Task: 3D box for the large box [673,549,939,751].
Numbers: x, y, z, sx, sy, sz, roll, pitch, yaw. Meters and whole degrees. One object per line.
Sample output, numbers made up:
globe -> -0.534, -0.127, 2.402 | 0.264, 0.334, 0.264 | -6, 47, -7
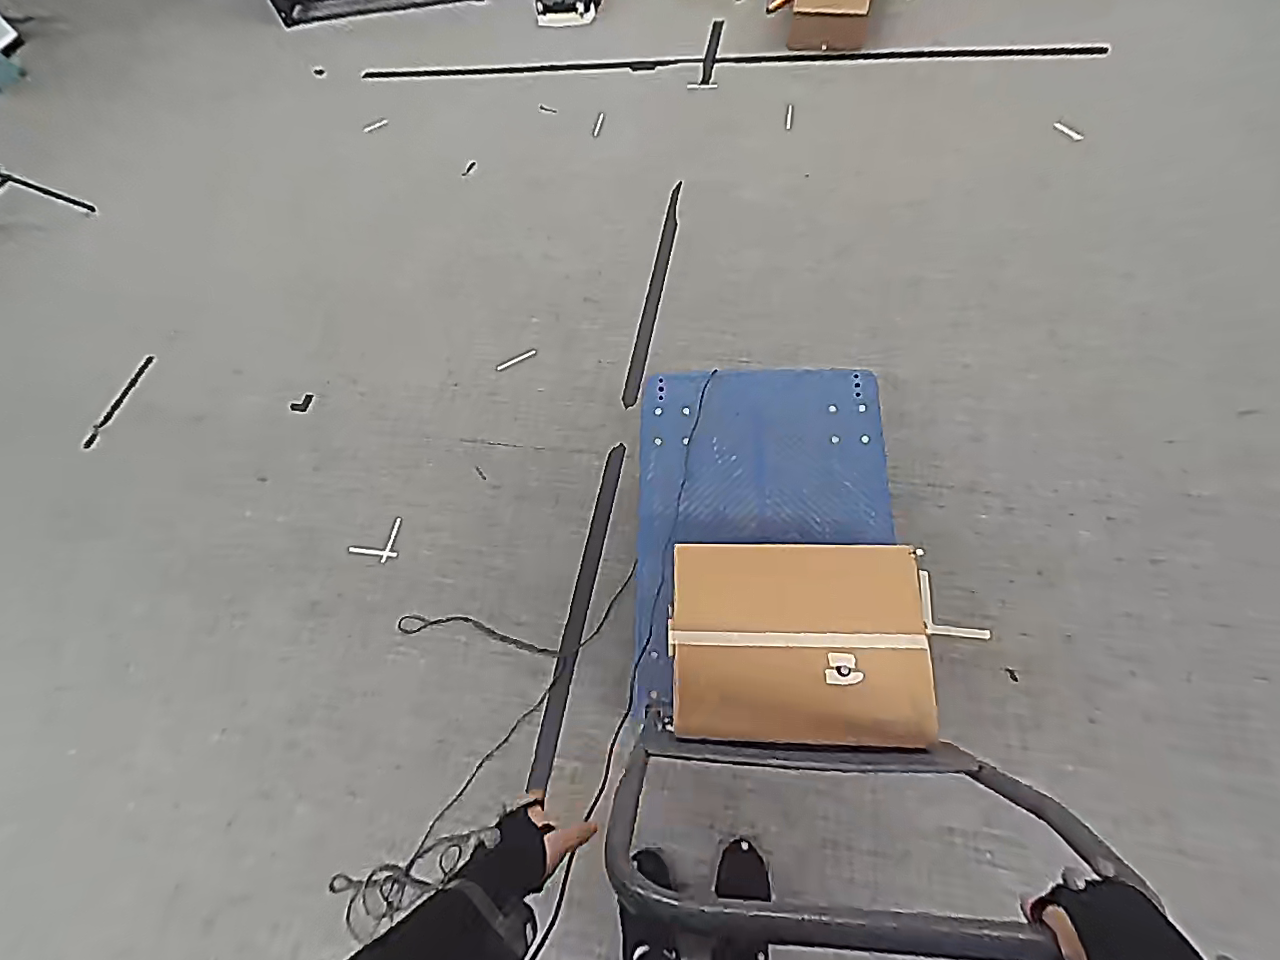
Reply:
large box -> 0.268, 0.311, 1.017 | 0.408, 0.320, 0.320 | 0, 73, 5
